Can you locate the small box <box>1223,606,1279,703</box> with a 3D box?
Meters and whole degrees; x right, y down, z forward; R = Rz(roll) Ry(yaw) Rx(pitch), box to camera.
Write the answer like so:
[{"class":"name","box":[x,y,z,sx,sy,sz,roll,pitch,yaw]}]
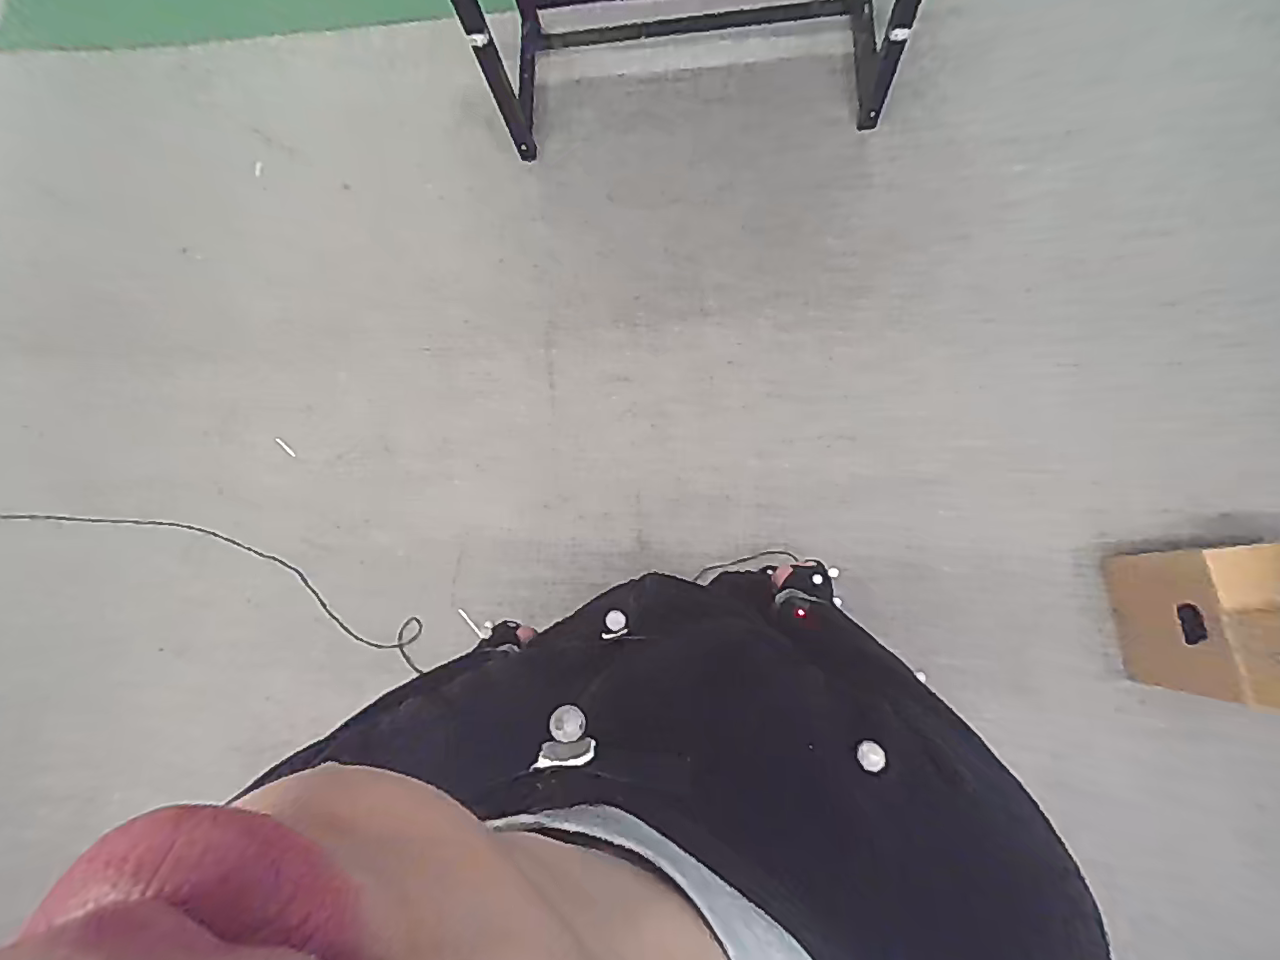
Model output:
[{"class":"small box","box":[1.265,0.326,1.008,0.168,0.176,0.179,-8,80,5]}]
